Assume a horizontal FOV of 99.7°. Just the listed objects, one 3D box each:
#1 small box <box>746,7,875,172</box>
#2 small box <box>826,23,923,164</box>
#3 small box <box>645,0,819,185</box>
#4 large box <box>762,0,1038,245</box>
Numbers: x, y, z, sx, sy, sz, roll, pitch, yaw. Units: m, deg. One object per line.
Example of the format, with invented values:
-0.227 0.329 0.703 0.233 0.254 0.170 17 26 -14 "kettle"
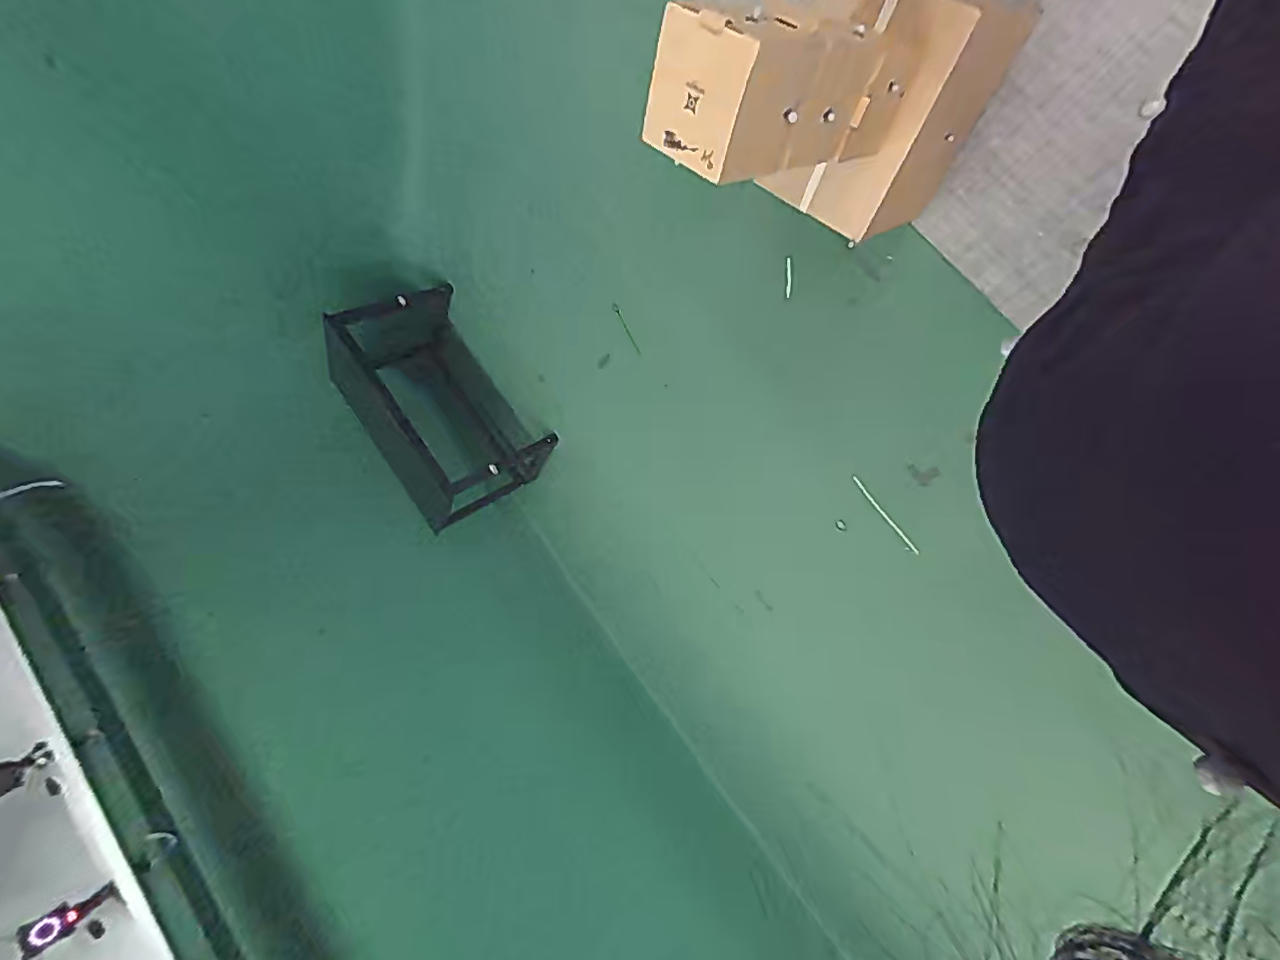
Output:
0.257 -0.644 0.896 0.168 0.176 0.179 43 143 22 "small box"
0.374 -0.710 0.988 0.179 0.176 0.168 44 143 21 "small box"
0.138 -0.573 0.807 0.168 0.176 0.179 44 142 21 "small box"
0.531 -0.797 1.160 0.320 0.320 0.408 44 145 22 "large box"
